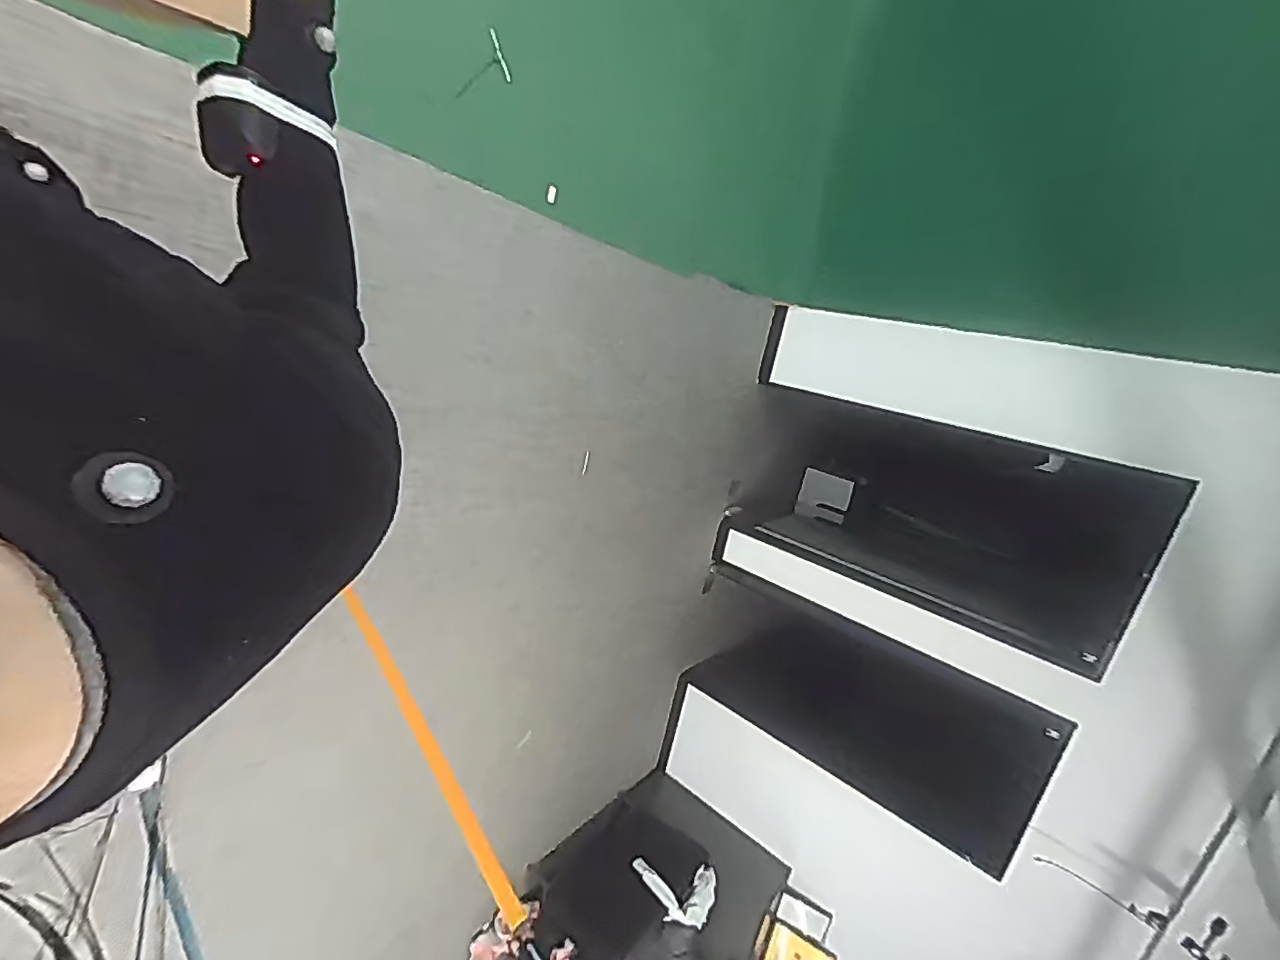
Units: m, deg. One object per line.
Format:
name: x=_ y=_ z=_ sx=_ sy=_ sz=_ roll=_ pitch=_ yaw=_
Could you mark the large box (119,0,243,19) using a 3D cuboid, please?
large box: x=-0.485 y=-0.507 z=0.266 sx=0.408 sy=0.320 sz=0.320 roll=-13 pitch=128 yaw=-49
